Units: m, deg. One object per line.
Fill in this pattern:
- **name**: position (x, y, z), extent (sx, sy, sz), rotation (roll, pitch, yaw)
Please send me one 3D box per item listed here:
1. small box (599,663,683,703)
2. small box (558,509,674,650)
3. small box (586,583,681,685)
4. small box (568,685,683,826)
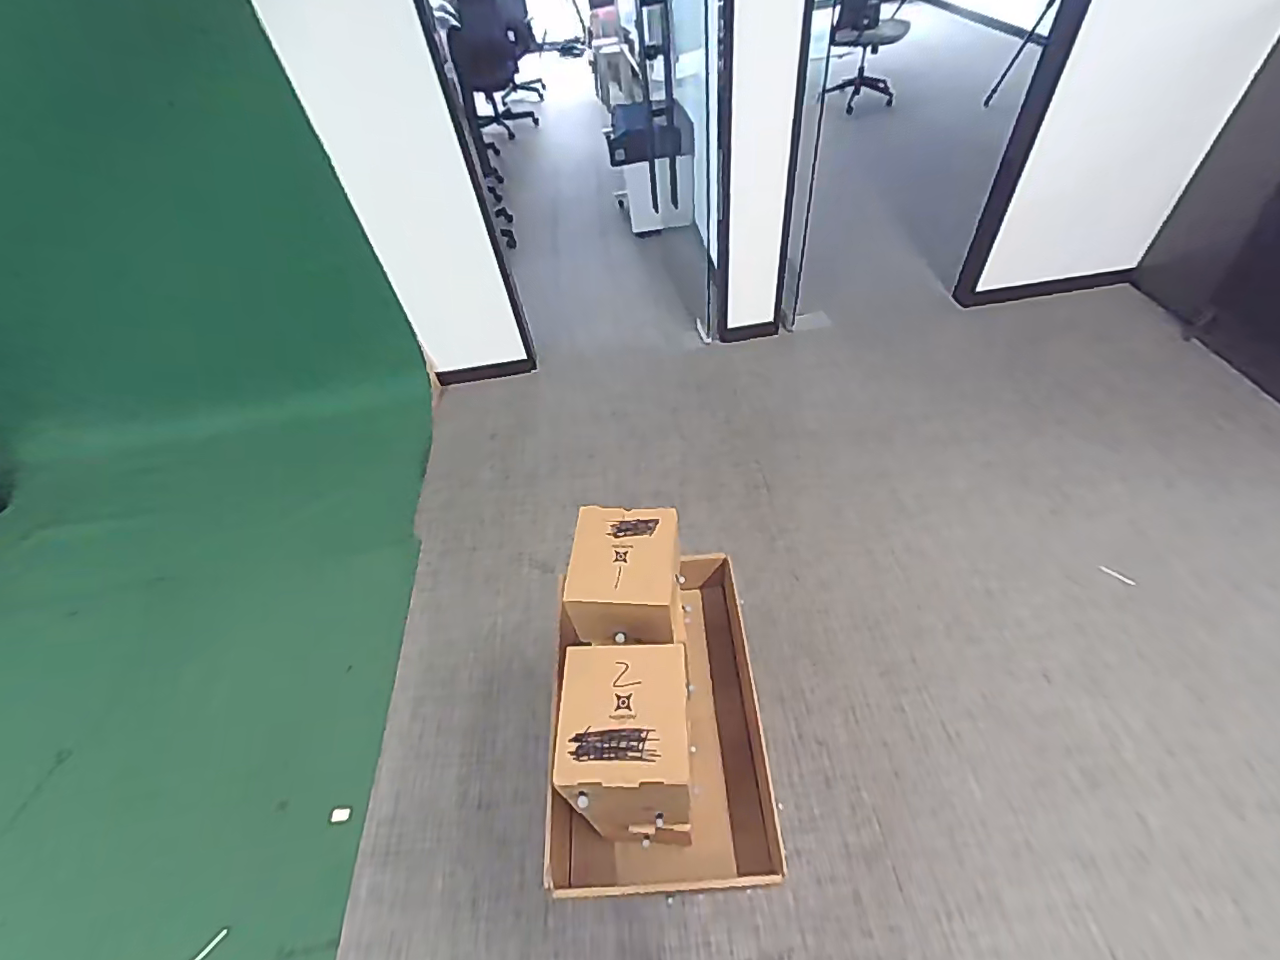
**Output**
- **small box**: position (0.003, 0.377, 1.170), extent (0.168, 0.176, 0.179), rotation (-7, 51, 2)
- **small box**: position (-0.030, 0.170, 0.920), extent (0.168, 0.176, 0.179), rotation (1, 52, 7)
- **small box**: position (-0.012, 0.277, 1.044), extent (0.168, 0.176, 0.179), rotation (-6, 52, 1)
- **small box**: position (-0.015, 0.454, 0.887), extent (0.168, 0.176, 0.179), rotation (-2, 48, 4)
